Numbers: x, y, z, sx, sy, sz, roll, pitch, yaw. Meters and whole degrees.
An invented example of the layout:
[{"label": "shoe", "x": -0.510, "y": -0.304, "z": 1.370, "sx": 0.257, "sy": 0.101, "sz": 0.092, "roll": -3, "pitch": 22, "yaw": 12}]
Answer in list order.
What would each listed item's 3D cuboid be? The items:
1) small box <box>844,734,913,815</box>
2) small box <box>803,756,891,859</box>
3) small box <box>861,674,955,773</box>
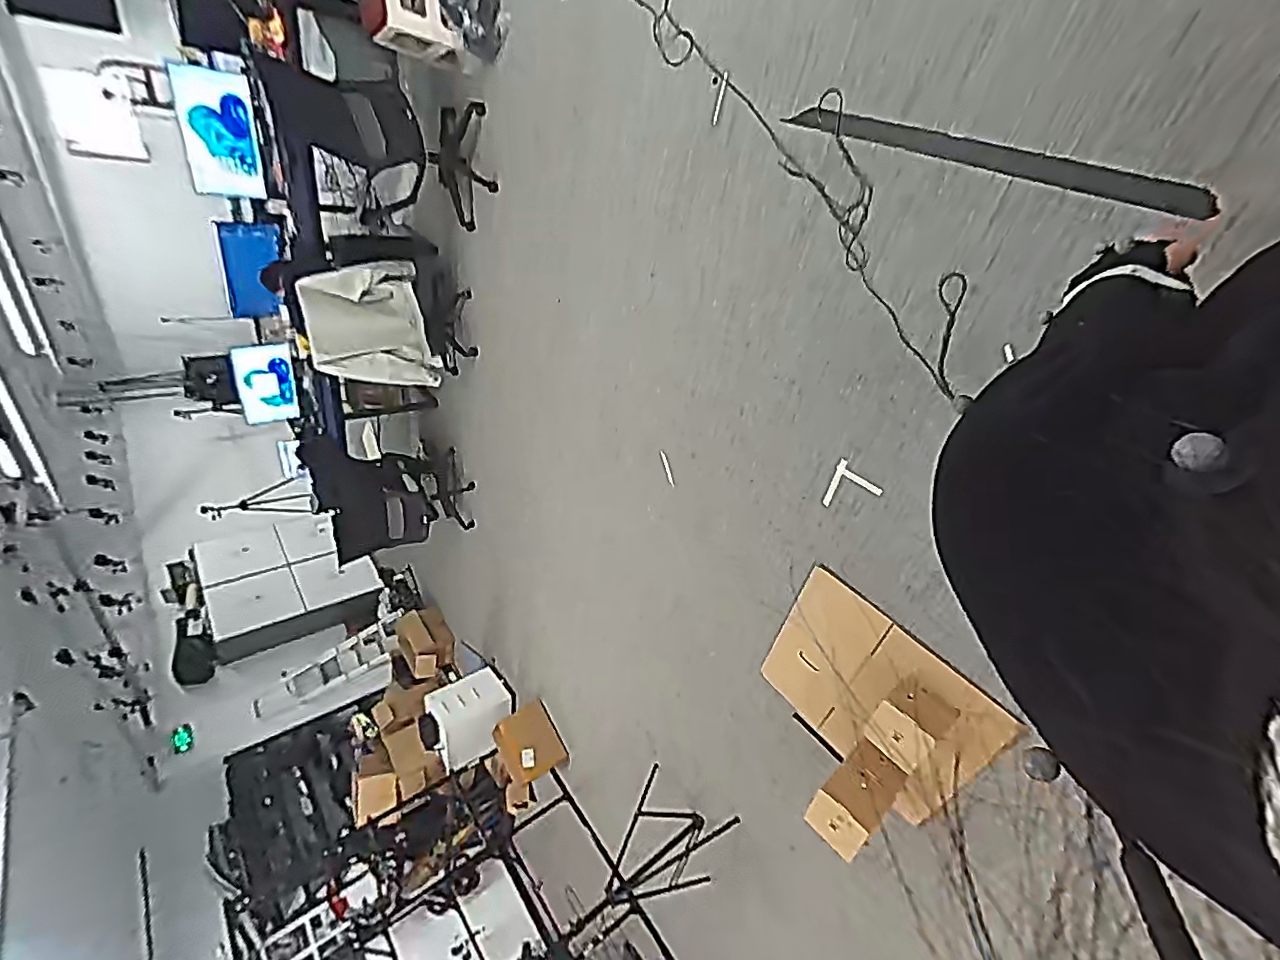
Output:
[{"label": "small box", "x": 0.756, "y": 0.952, "z": 1.754, "sx": 0.168, "sy": 0.176, "sz": 0.179, "roll": 35, "pitch": 128, "yaw": 39}, {"label": "small box", "x": 0.634, "y": 0.994, "z": 1.652, "sx": 0.168, "sy": 0.176, "sz": 0.179, "roll": 36, "pitch": 129, "yaw": 37}, {"label": "small box", "x": 0.802, "y": 0.715, "z": 1.608, "sx": 0.168, "sy": 0.176, "sz": 0.179, "roll": 39, "pitch": 132, "yaw": 36}]
